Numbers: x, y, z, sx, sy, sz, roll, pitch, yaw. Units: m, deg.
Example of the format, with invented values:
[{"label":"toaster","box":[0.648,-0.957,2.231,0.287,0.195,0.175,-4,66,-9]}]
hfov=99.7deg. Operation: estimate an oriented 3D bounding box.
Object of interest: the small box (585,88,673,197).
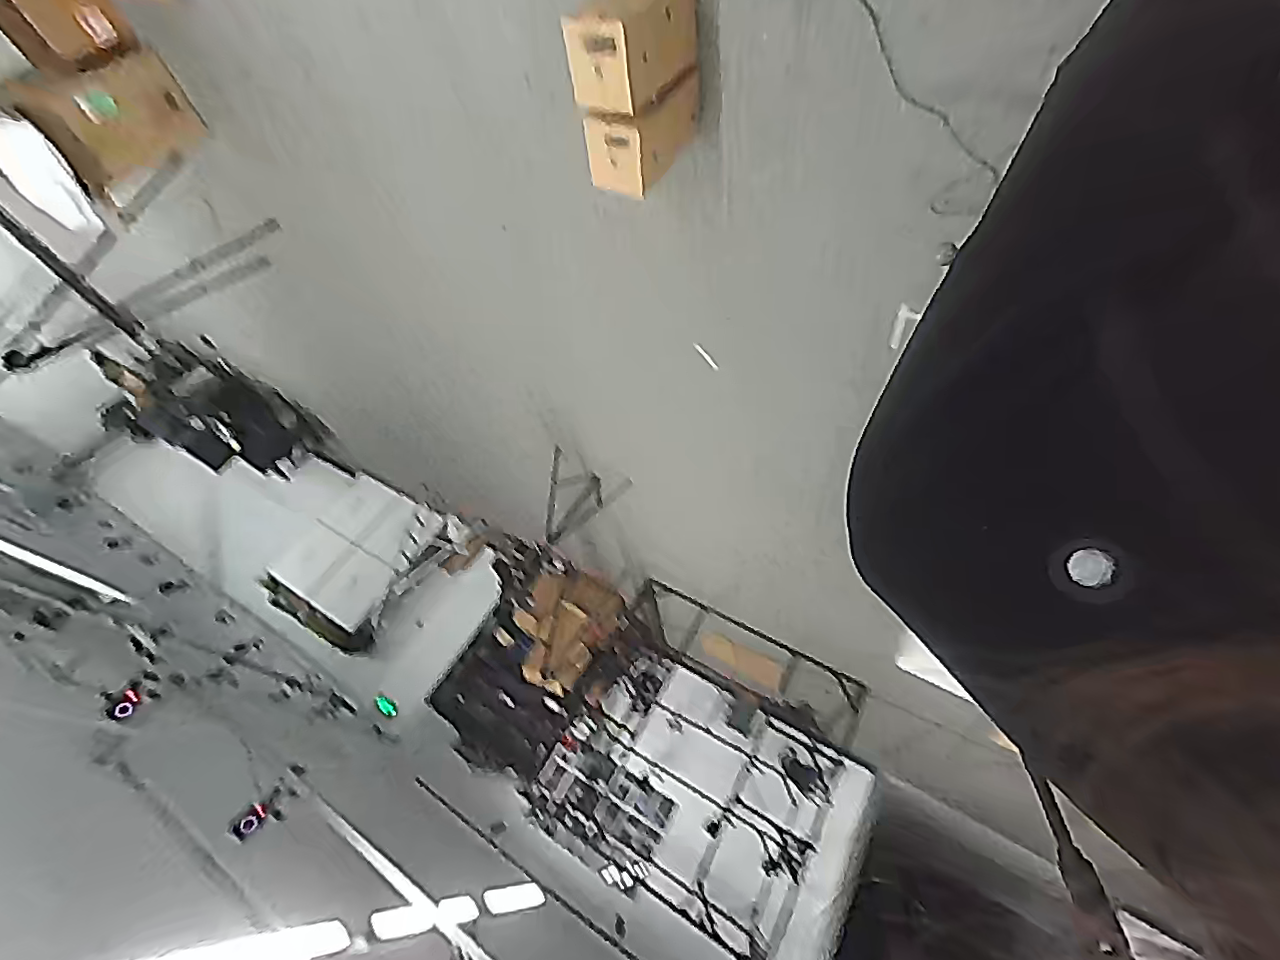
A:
[{"label":"small box","box":[-0.022,-0.897,1.433,0.168,0.176,0.179,27,157,18]}]
